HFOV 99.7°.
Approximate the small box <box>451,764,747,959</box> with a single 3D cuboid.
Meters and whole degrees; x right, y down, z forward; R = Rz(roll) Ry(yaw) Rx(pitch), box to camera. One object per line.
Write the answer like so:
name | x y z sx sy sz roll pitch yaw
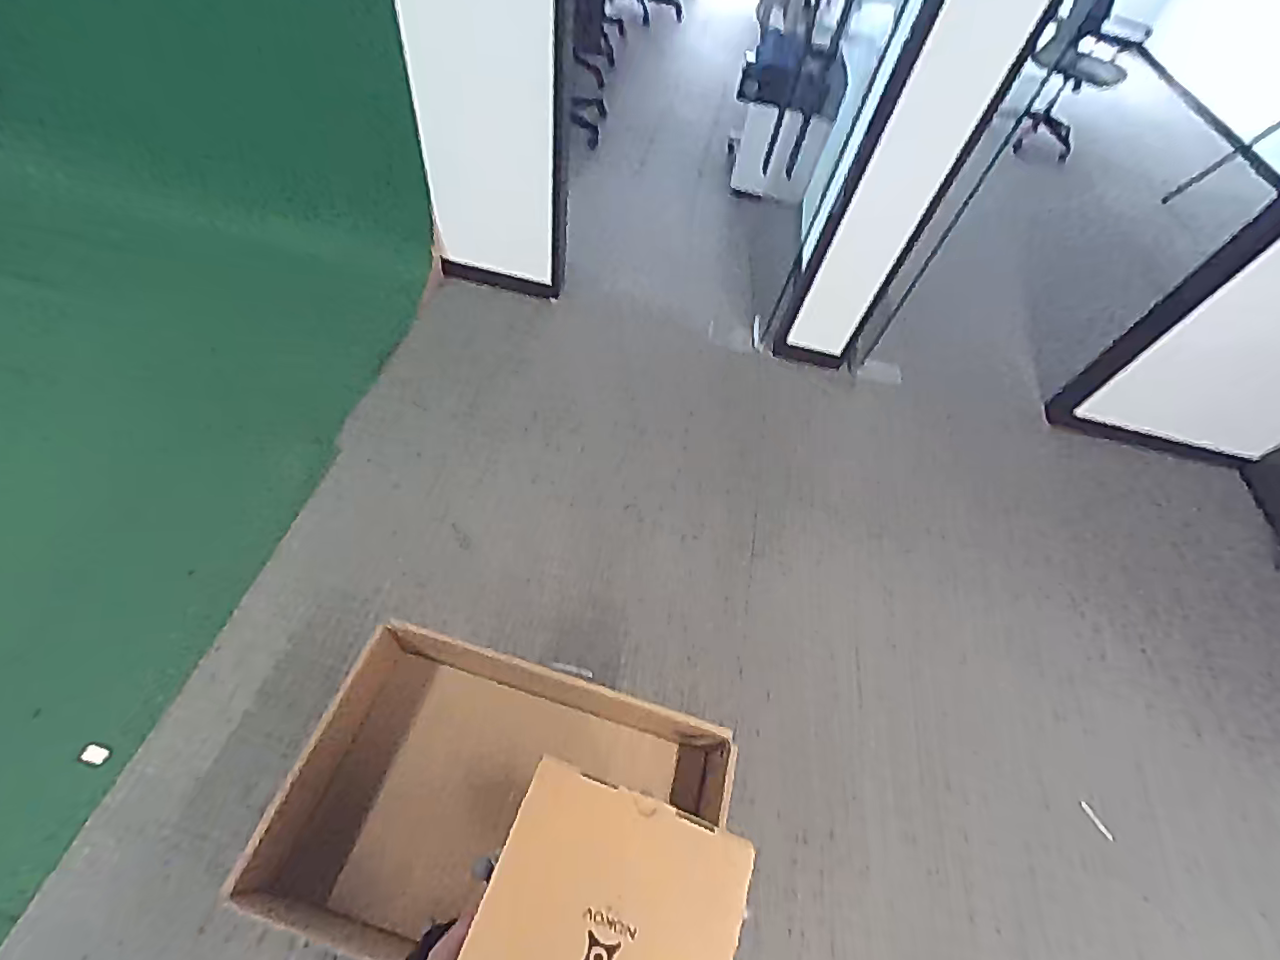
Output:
small box | -0.039 0.340 0.401 0.168 0.176 0.179 20 57 4
